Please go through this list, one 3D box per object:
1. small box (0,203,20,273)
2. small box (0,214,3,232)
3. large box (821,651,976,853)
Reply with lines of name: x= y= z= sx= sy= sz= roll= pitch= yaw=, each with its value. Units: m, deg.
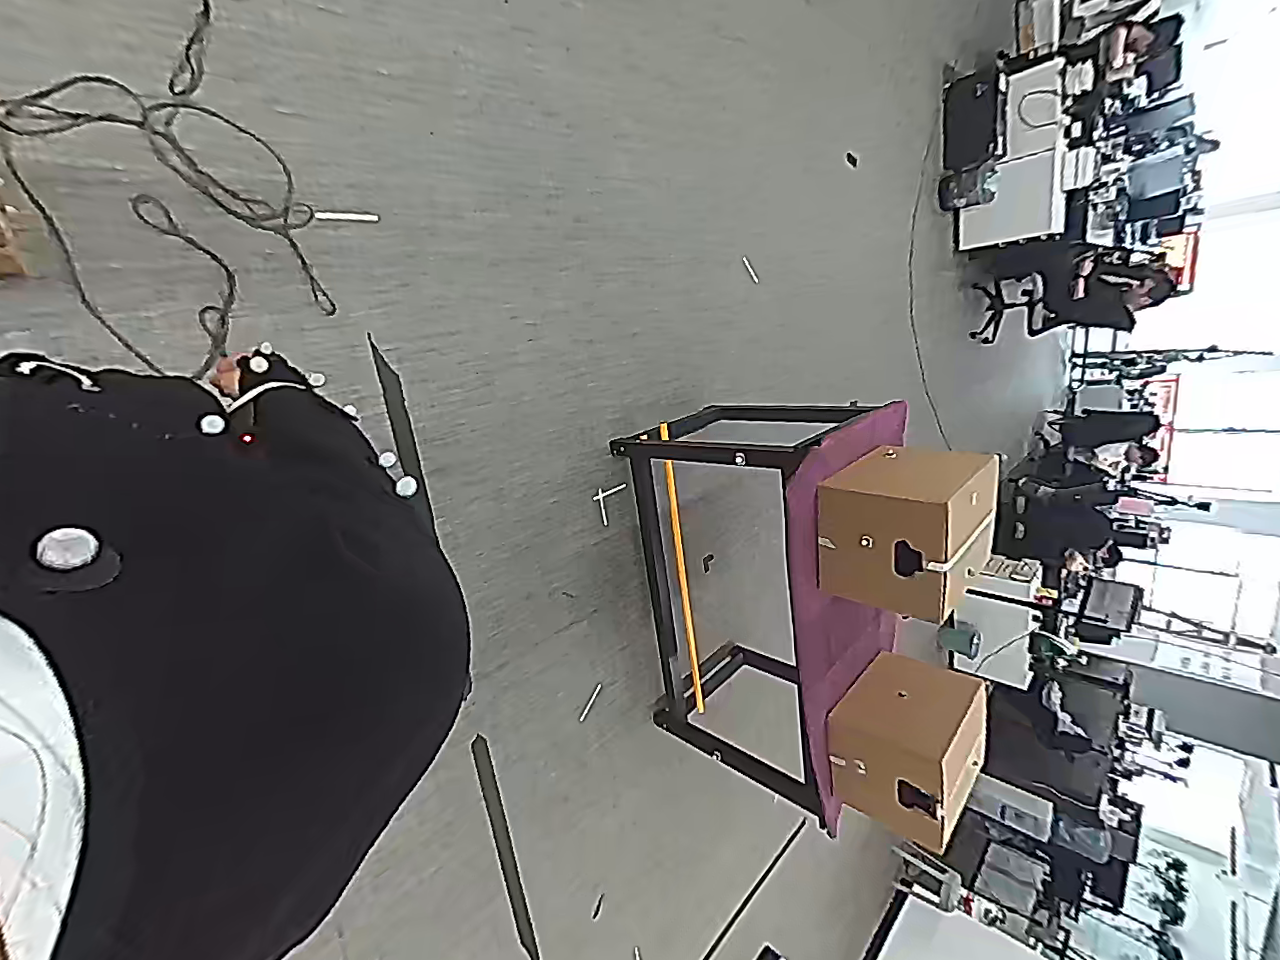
small box: x=-1.056 y=-0.406 z=0.783 sx=0.168 sy=0.176 sz=0.179 roll=-20 pitch=110 yaw=-40
small box: x=-0.944 y=-0.399 z=0.665 sx=0.179 sy=0.176 sz=0.168 roll=-20 pitch=109 yaw=-40
large box: x=0.789 y=0.789 z=1.641 sx=0.408 sy=0.320 sz=0.320 roll=-23 pitch=112 yaw=-42
